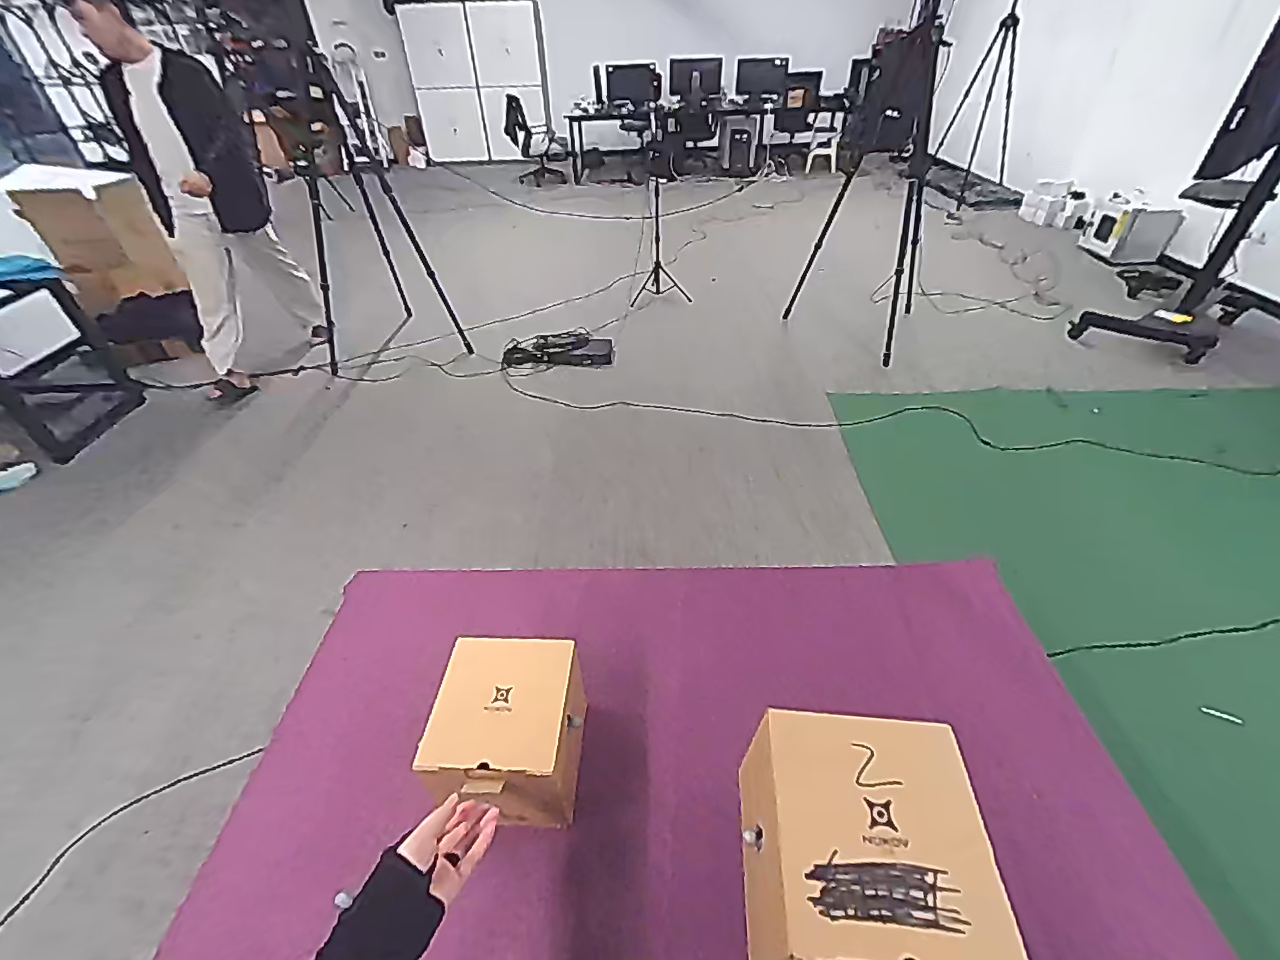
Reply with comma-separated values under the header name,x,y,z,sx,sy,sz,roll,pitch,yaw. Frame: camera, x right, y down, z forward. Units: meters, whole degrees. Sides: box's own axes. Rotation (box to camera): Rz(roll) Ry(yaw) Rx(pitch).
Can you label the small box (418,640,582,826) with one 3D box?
name,x,y,z,sx,sy,sz,roll,pitch,yaw
small box,-0.175,0.344,0.742,0.168,0.176,0.179,1,40,3
